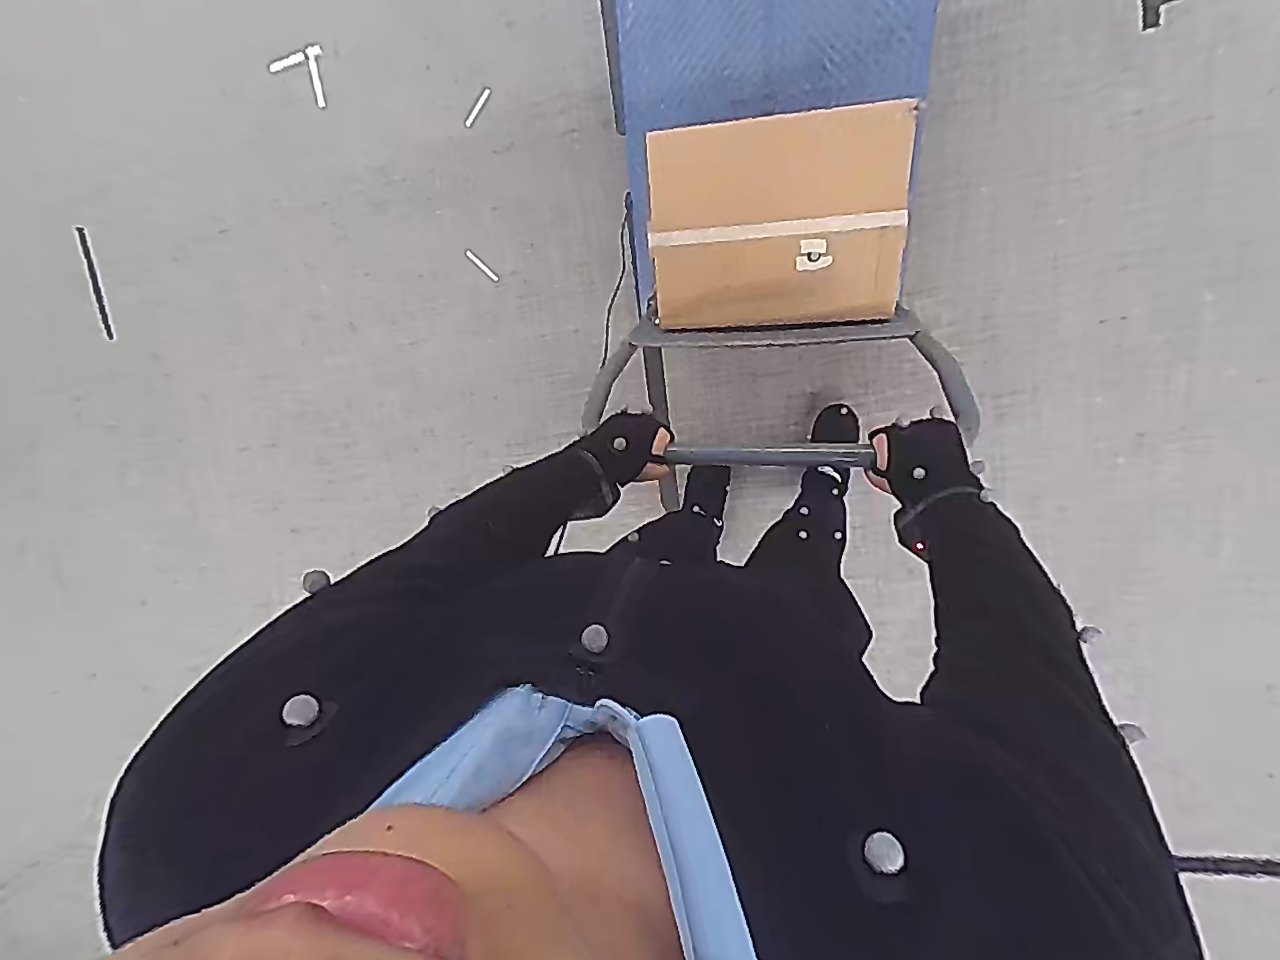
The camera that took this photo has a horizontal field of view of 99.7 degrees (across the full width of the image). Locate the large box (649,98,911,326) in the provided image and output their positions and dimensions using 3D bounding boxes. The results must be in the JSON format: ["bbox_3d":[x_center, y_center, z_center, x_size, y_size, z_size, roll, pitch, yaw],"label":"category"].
[{"bbox_3d":[0.248,-0.491,1.033,0.408,0.320,0.320,1,117,12],"label":"large box"}]
